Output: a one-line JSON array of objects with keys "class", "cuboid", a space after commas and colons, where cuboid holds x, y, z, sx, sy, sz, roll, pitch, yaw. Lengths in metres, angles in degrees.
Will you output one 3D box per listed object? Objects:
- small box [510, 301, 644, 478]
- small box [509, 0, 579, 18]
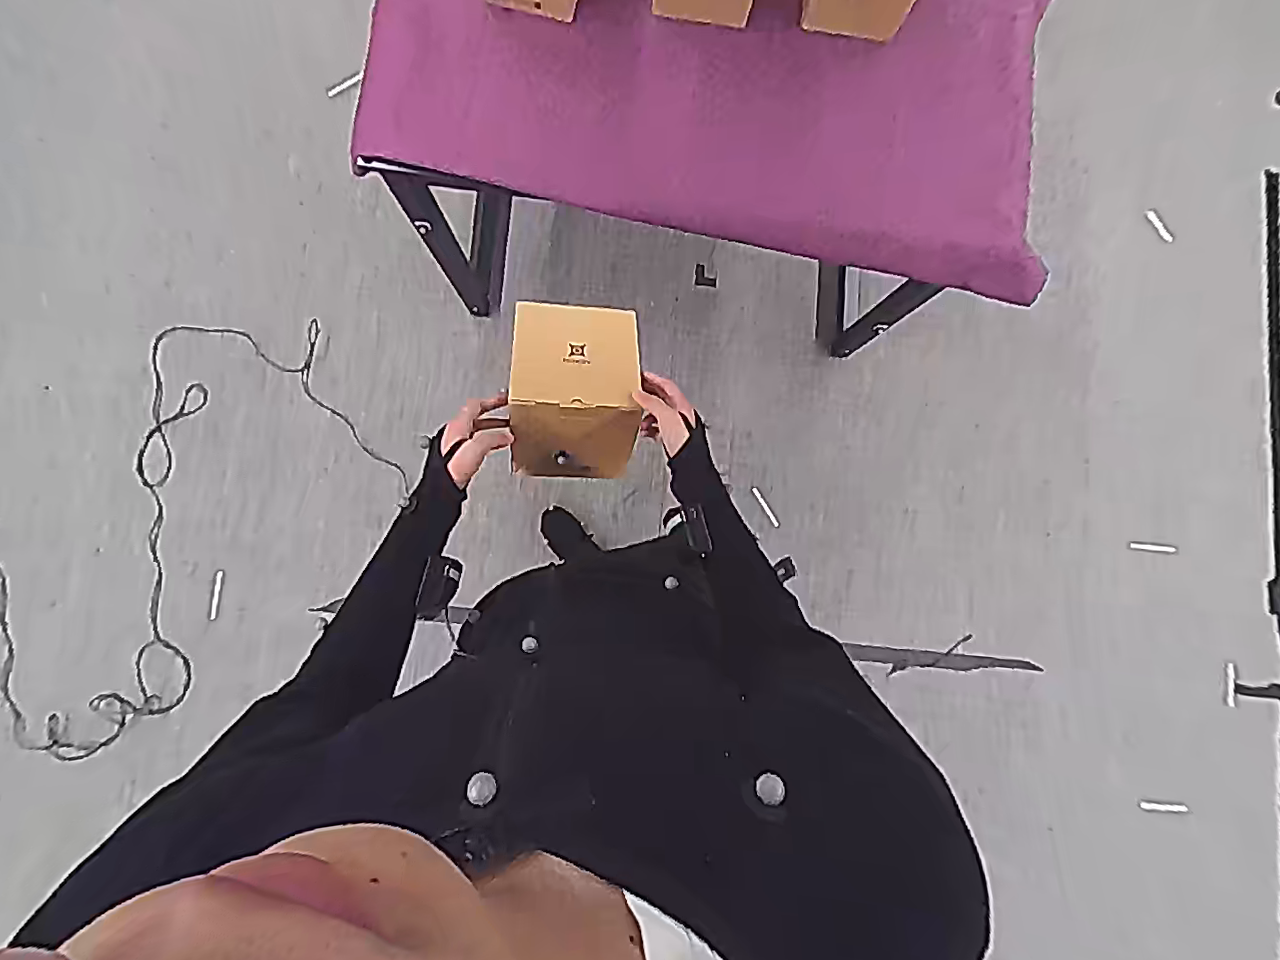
[{"class": "small box", "cuboid": [-0.093, -0.122, 0.760, 0.168, 0.176, 0.179, 1, 59, -10]}, {"class": "small box", "cuboid": [-0.175, -0.929, 0.896, 0.168, 0.176, 0.179, 12, 85, -3]}]
